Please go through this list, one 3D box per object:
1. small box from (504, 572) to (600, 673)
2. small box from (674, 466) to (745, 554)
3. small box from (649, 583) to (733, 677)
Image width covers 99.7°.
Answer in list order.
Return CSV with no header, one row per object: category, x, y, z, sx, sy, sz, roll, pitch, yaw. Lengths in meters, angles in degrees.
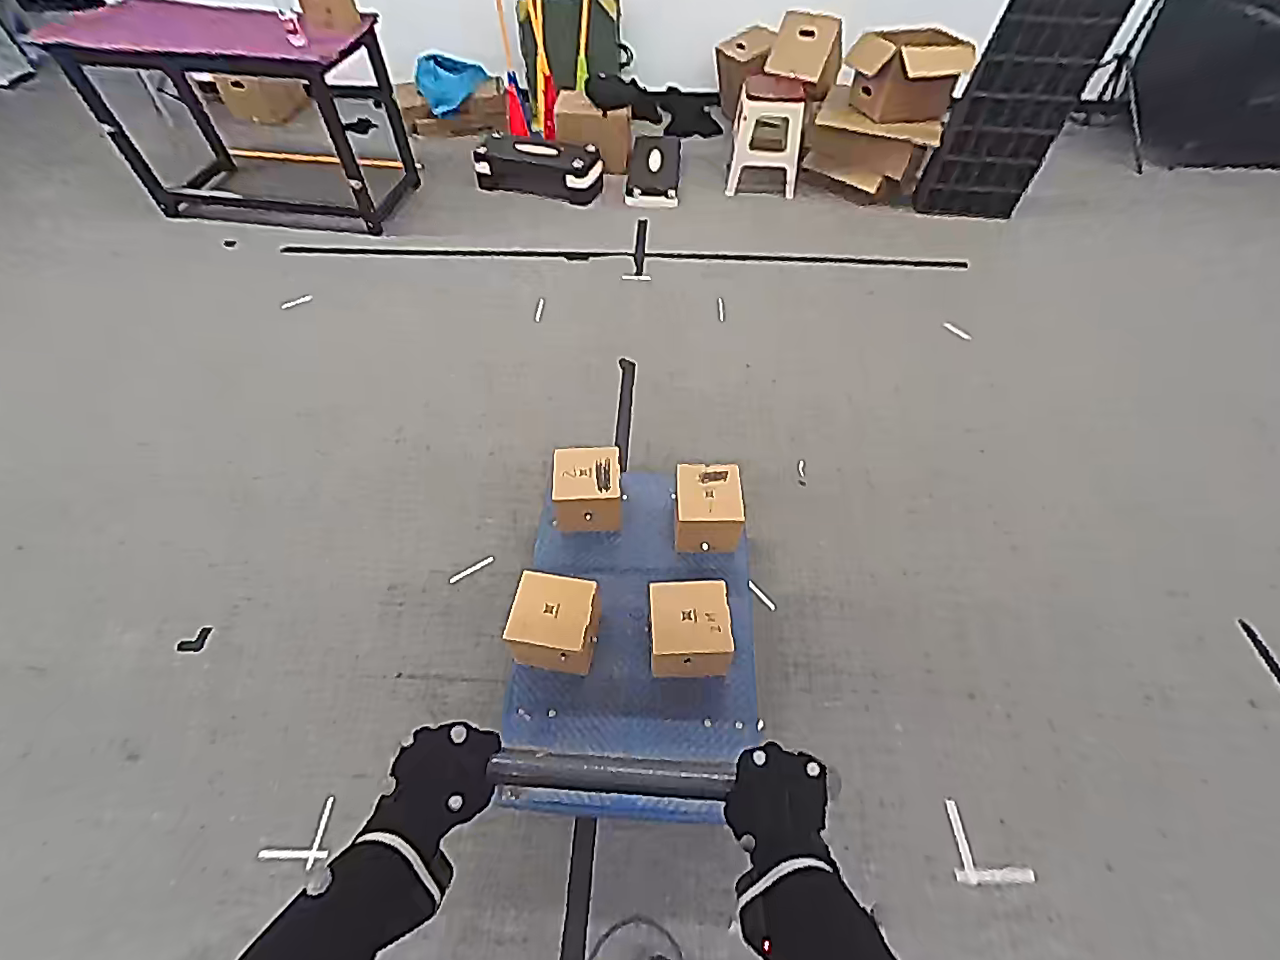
small box,-0.196,0.337,1.263,0.179,0.176,0.168,9,54,4
small box,0.179,0.082,1.447,0.168,0.176,0.179,1,55,0
small box,0.111,0.350,1.253,0.179,0.176,0.168,-1,54,-1
